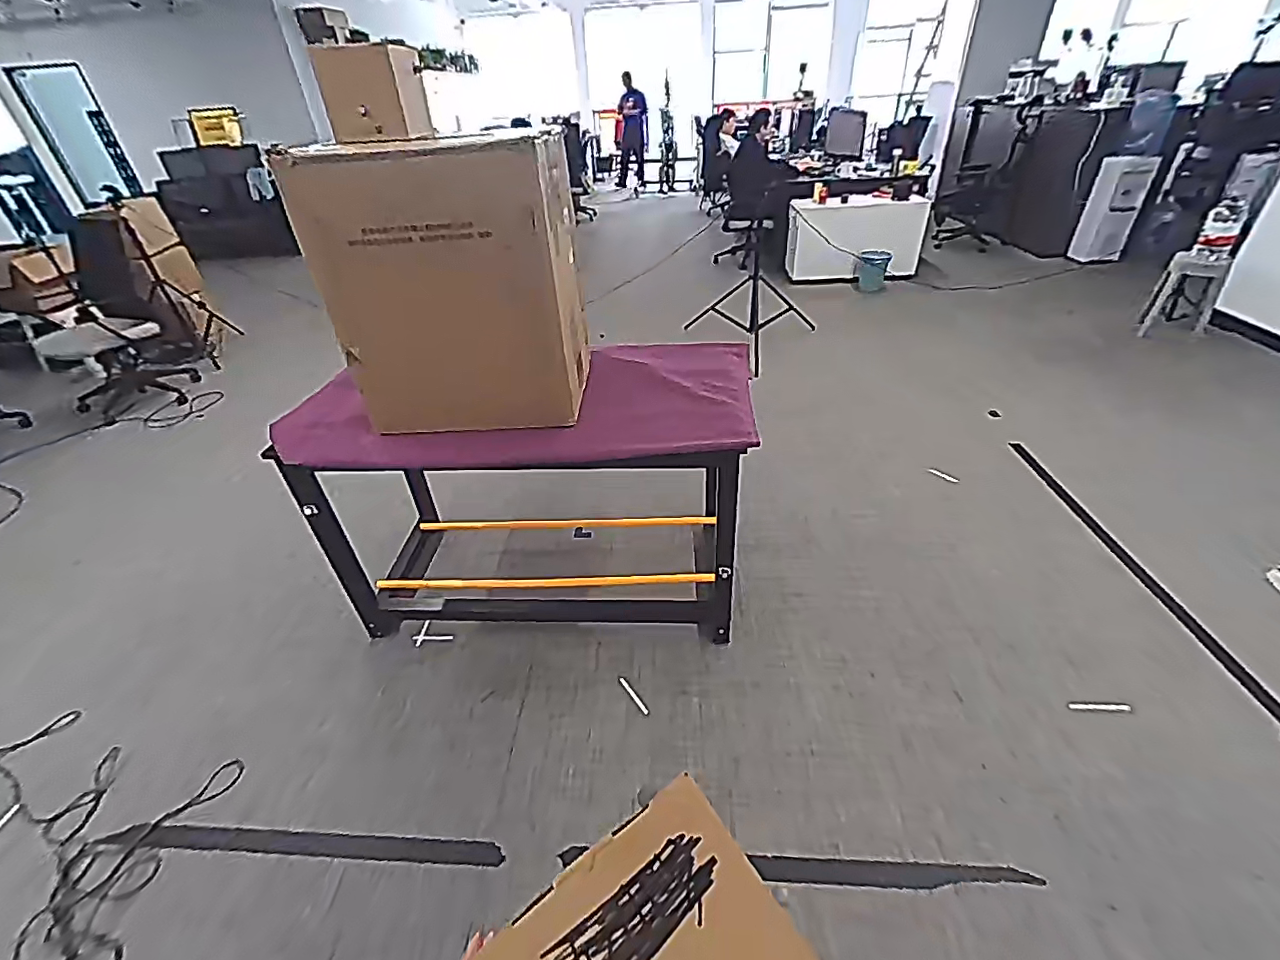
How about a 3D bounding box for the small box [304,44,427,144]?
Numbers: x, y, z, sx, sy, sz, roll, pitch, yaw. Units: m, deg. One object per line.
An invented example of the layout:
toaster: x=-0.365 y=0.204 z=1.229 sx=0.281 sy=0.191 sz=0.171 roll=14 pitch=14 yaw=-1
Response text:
small box: x=-0.589 y=-0.845 z=1.193 sx=0.168 sy=0.176 sz=0.179 roll=-2 pitch=36 yaw=2
